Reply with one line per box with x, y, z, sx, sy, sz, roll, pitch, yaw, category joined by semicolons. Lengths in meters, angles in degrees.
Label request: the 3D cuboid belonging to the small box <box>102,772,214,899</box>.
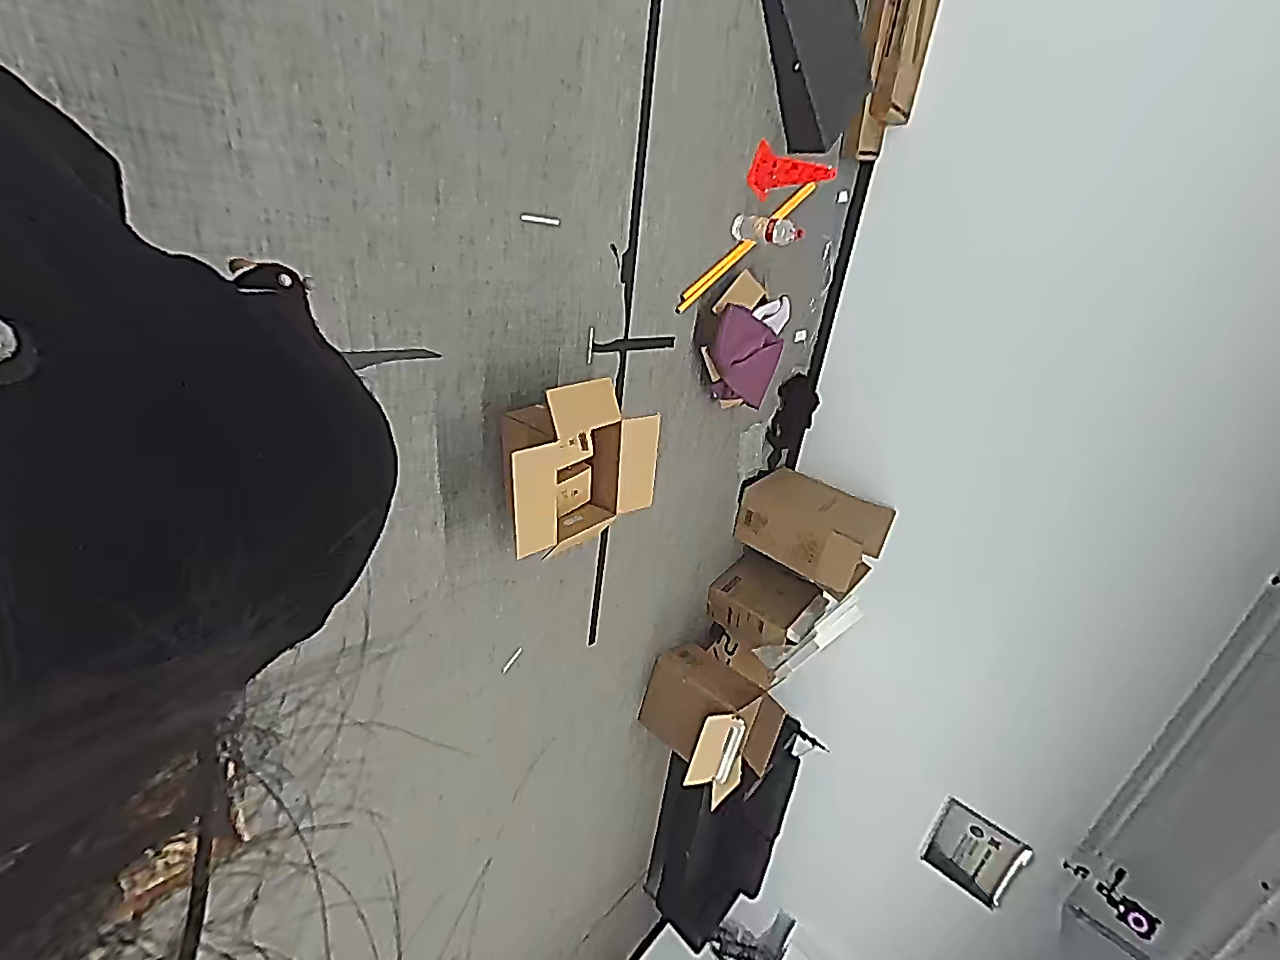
-1.237;0.901;1.390;0.179;0.176;0.168;-17;122;-45;small box
